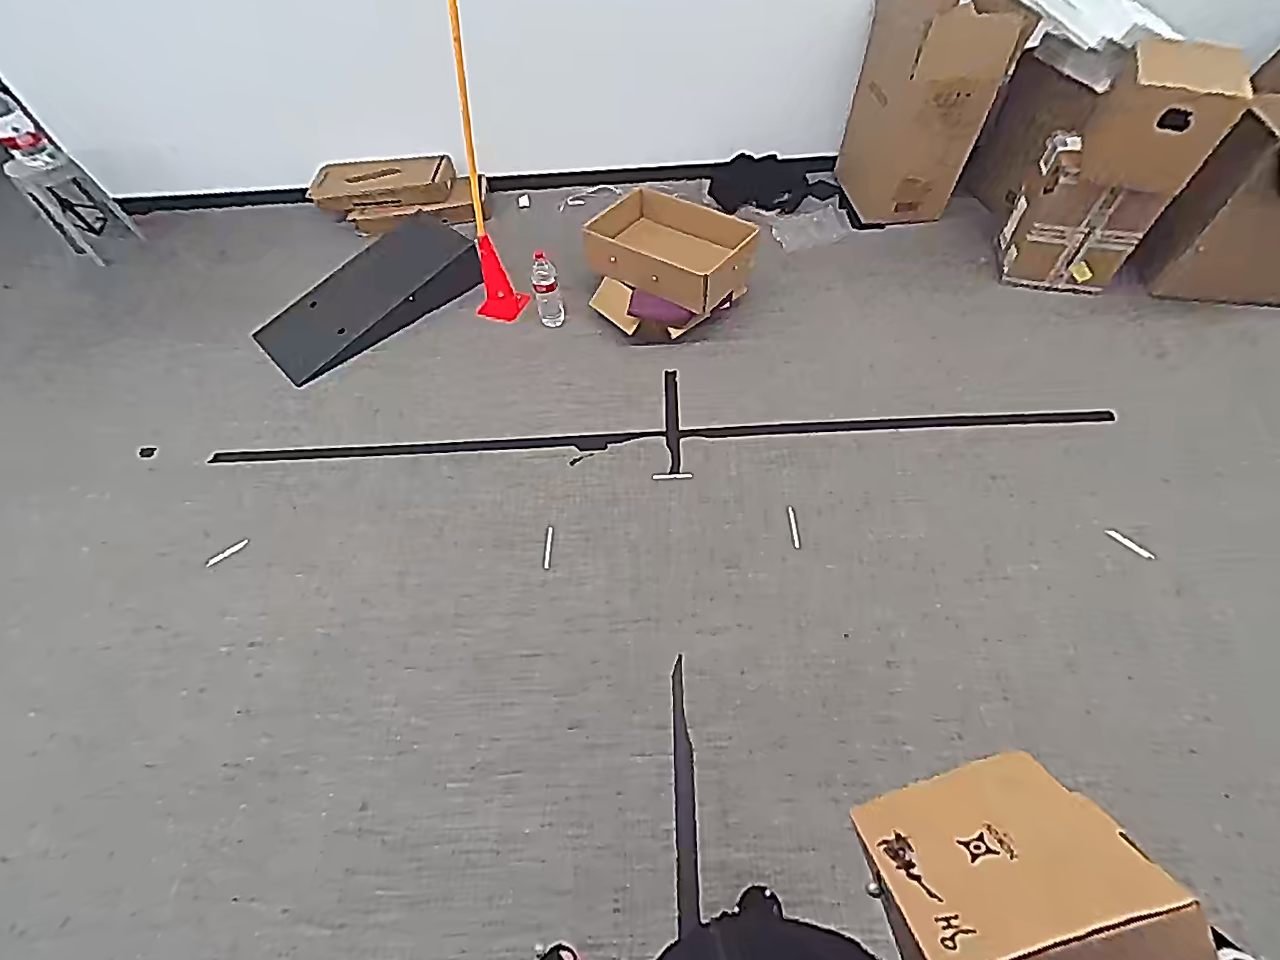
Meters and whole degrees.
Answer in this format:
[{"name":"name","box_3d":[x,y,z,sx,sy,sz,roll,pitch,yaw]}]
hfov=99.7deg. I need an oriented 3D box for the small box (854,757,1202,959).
[{"name":"small box","box_3d":[0.313,0.377,0.449,0.179,0.168,0.176,-20,94,2]}]
